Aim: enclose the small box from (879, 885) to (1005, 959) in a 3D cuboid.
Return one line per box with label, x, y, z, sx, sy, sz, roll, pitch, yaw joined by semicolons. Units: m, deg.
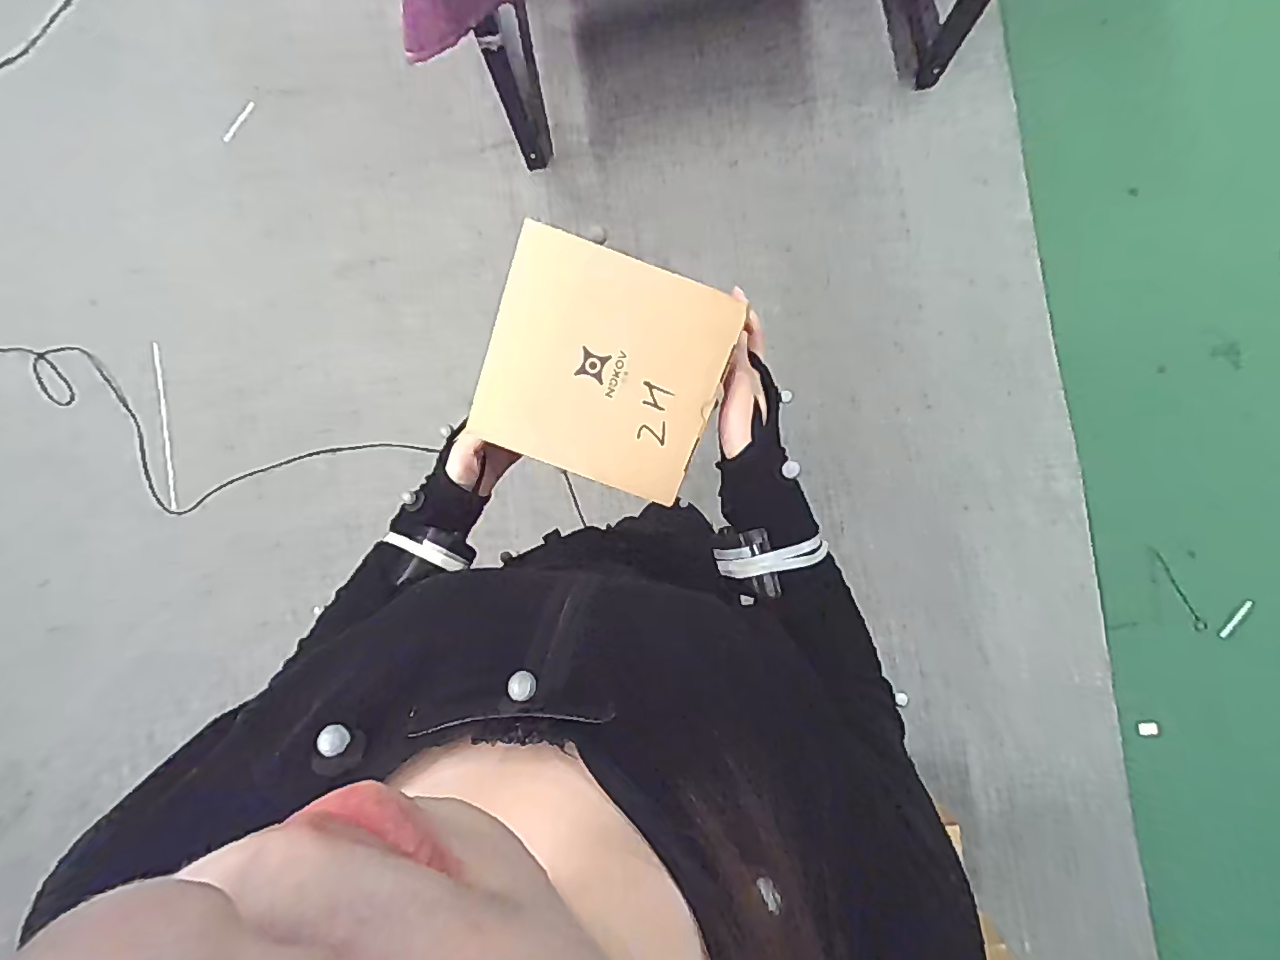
small box;0.586;0.936;1.062;0.168;0.176;0.179;-4;90;2
